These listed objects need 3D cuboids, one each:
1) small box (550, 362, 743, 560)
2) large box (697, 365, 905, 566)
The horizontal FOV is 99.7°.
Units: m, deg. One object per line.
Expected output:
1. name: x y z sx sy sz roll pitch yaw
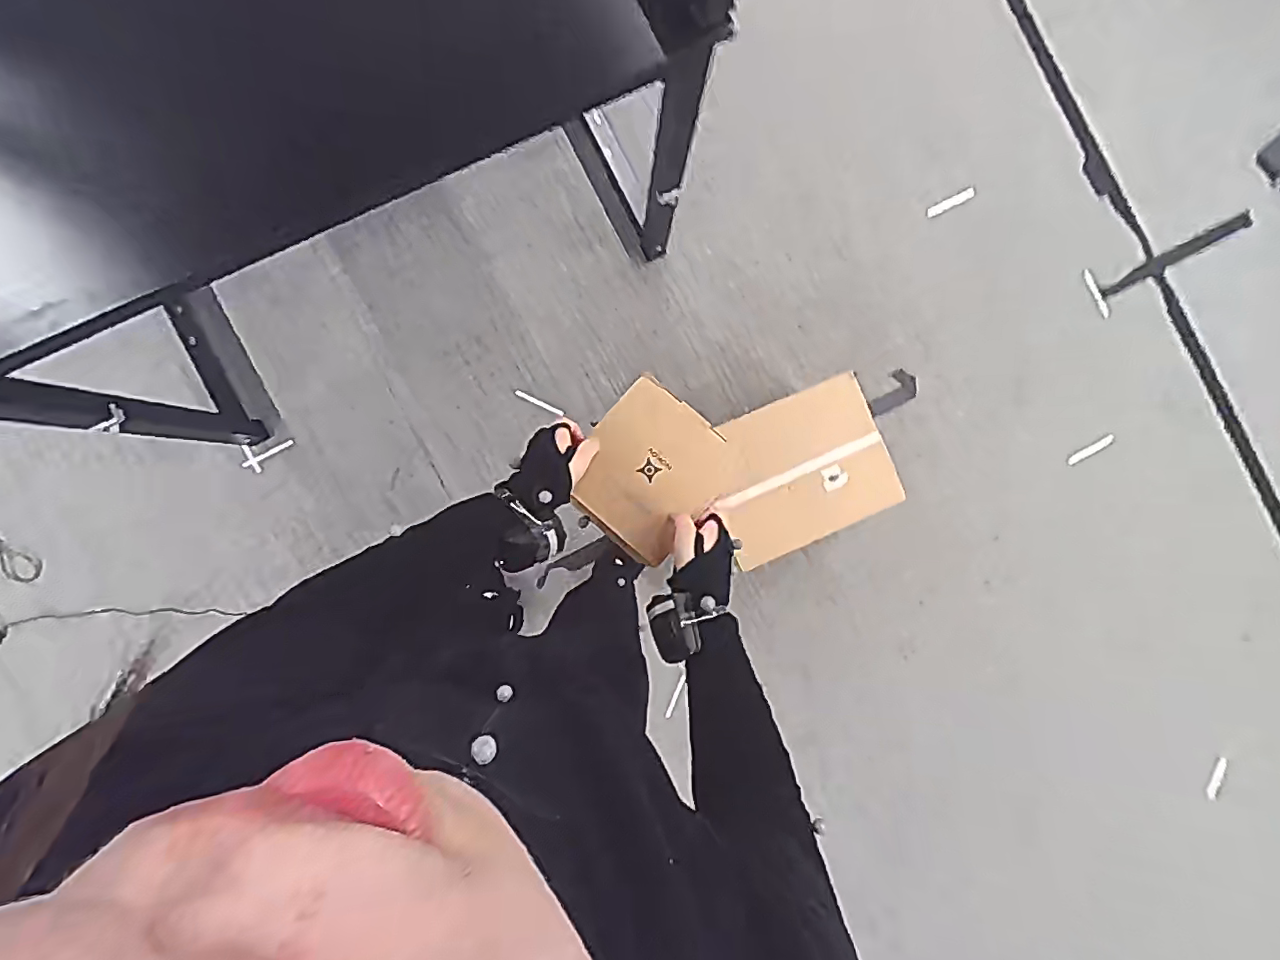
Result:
1. small box: -0.001 -0.017 0.706 0.168 0.176 0.179 41 81 -2
2. large box: 0.330 -0.030 1.312 0.408 0.320 0.320 -23 92 -4
